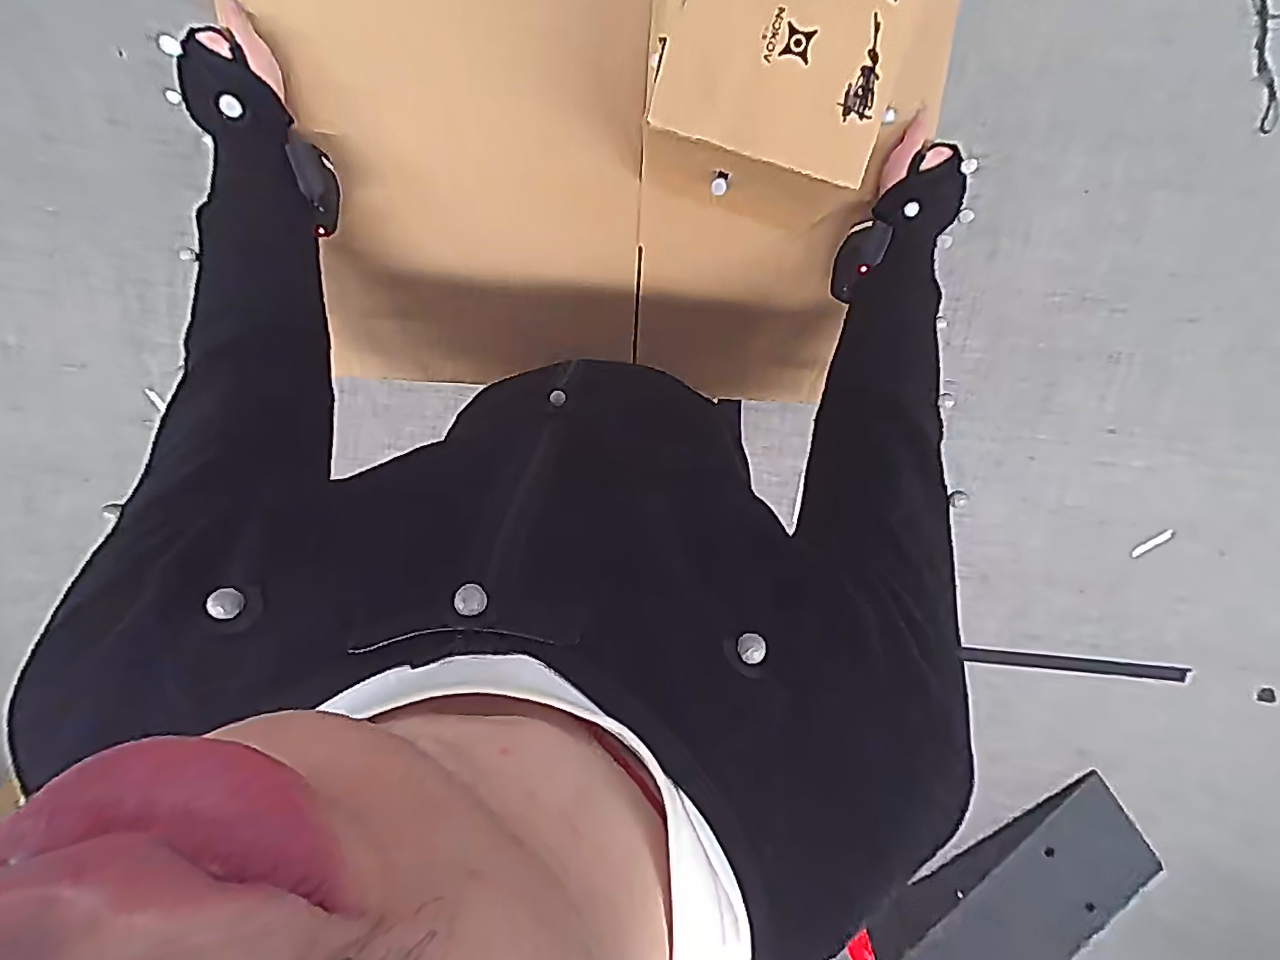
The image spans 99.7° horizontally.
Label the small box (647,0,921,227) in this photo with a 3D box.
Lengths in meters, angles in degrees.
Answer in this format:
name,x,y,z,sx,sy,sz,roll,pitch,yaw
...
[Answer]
name,x,y,z,sx,sy,sz,roll,pitch,yaw
small box,0.113,-0.346,0.484,0.179,0.176,0.168,16,103,-2
